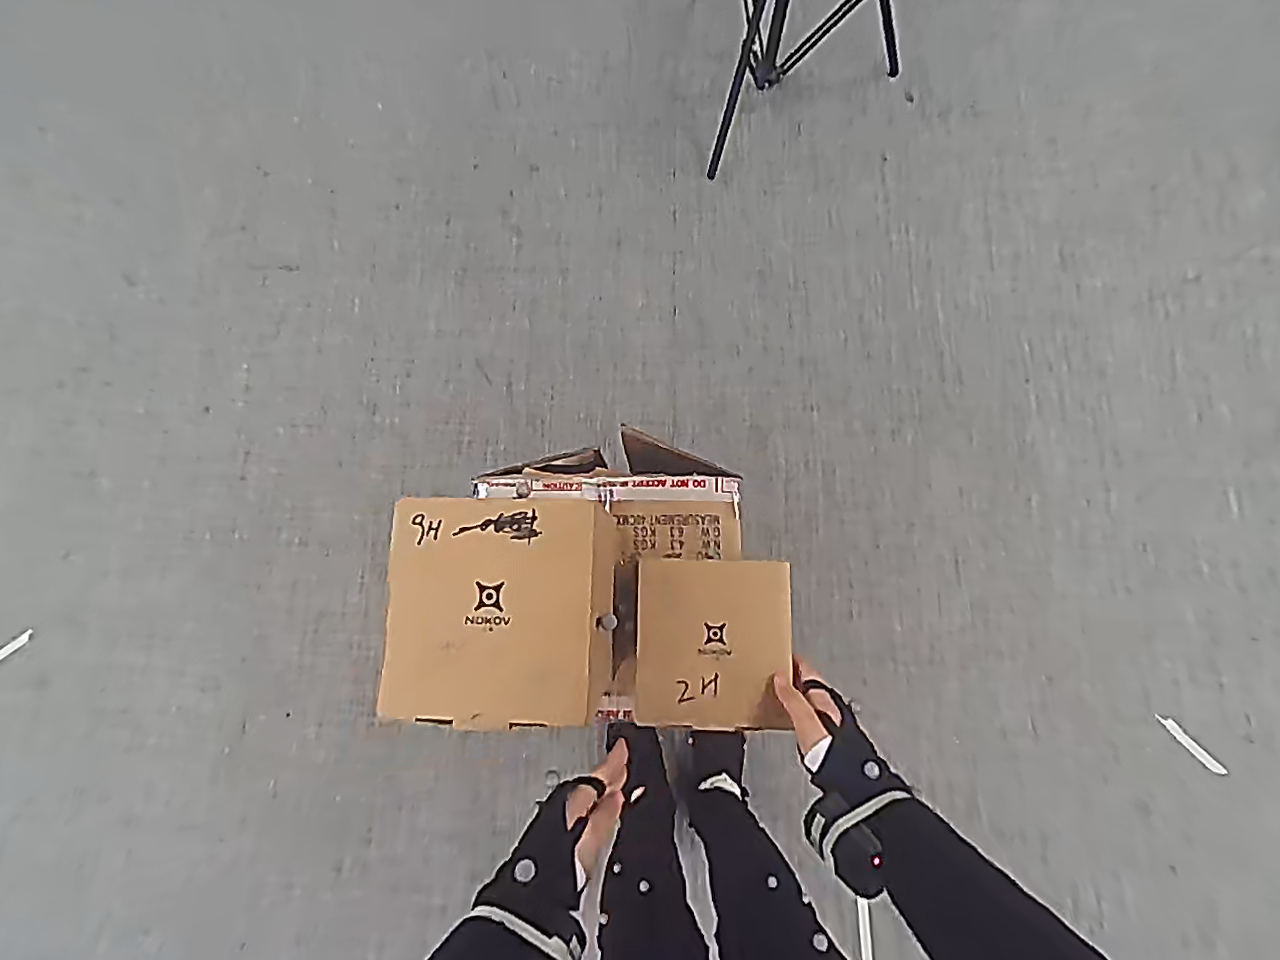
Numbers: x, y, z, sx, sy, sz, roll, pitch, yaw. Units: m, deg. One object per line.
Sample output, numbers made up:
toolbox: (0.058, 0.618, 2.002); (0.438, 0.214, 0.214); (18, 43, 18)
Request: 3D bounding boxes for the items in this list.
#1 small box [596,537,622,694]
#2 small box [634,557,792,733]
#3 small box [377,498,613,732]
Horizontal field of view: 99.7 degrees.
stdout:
small box: (-0.111, 0.151, 0.660); (0.168, 0.176, 0.179); (-1, 82, 3)
small box: (0.079, 0.185, 0.648); (0.168, 0.176, 0.179); (1, 81, 2)
small box: (-0.115, 0.112, 0.500); (0.168, 0.176, 0.179); (1, 82, 3)
